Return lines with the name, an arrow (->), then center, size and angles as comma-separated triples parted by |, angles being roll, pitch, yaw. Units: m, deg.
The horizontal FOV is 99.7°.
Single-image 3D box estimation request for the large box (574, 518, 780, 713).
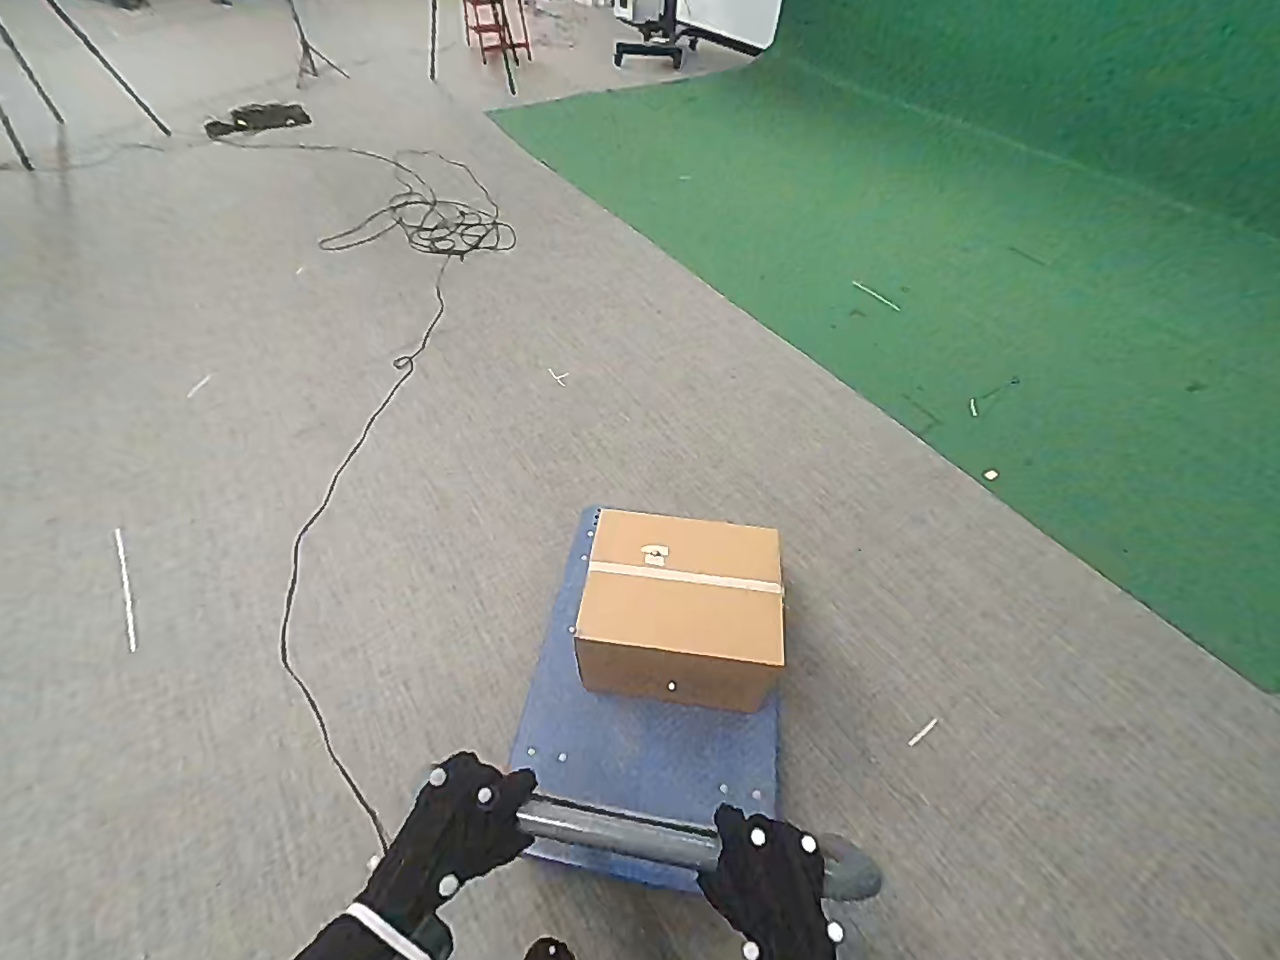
large box -> 0.084, 0.315, 1.239 | 0.408, 0.320, 0.320 | 6, 50, 4
